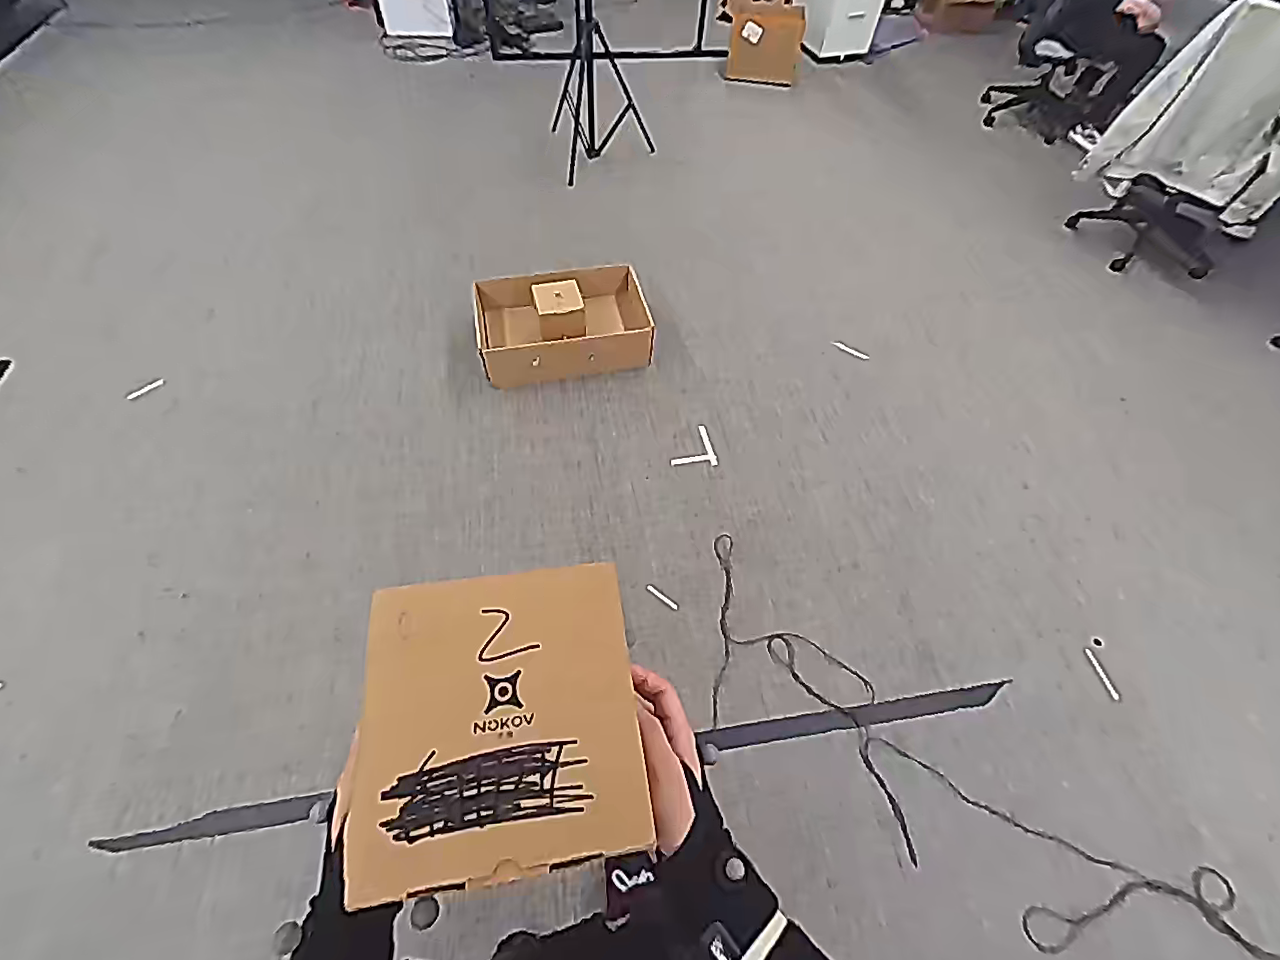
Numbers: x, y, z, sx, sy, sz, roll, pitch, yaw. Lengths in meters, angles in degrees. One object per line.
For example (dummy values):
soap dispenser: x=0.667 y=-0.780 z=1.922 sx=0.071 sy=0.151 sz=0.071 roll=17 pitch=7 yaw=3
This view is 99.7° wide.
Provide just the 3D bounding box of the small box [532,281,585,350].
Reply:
small box: x=-0.302 y=-0.615 z=2.021 sx=0.168 sy=0.176 sz=0.179 roll=-12 pitch=57 yaw=-11
